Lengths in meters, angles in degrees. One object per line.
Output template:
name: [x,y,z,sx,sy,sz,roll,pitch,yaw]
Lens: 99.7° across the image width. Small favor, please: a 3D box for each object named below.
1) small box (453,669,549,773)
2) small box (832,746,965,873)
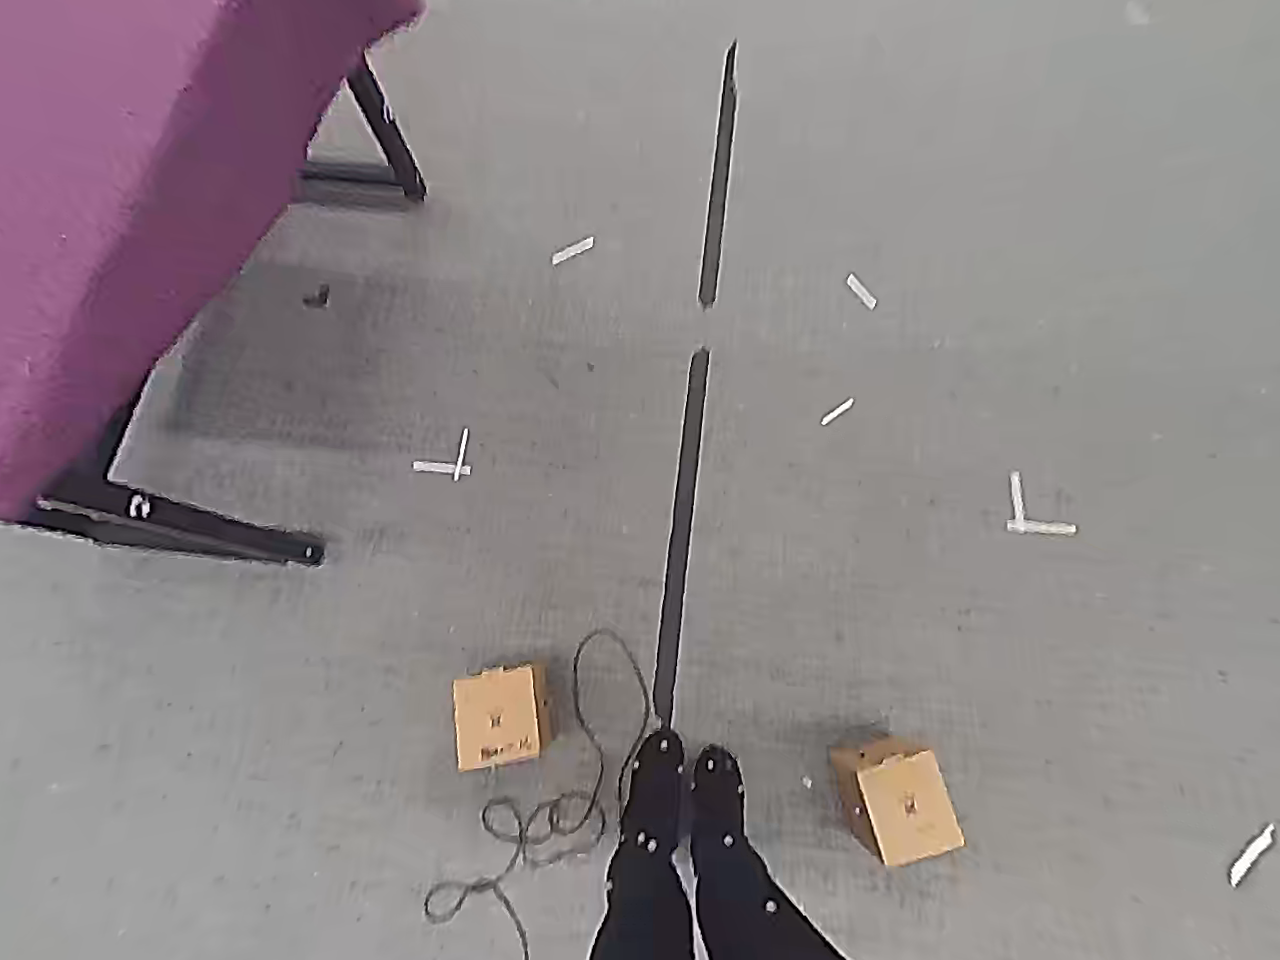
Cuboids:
small box: [-0.296,0.512,1.169,0.168,0.176,0.179,-9,72,-3]
small box: [0.523,0.669,1.125,0.168,0.176,0.179,-13,74,-3]
